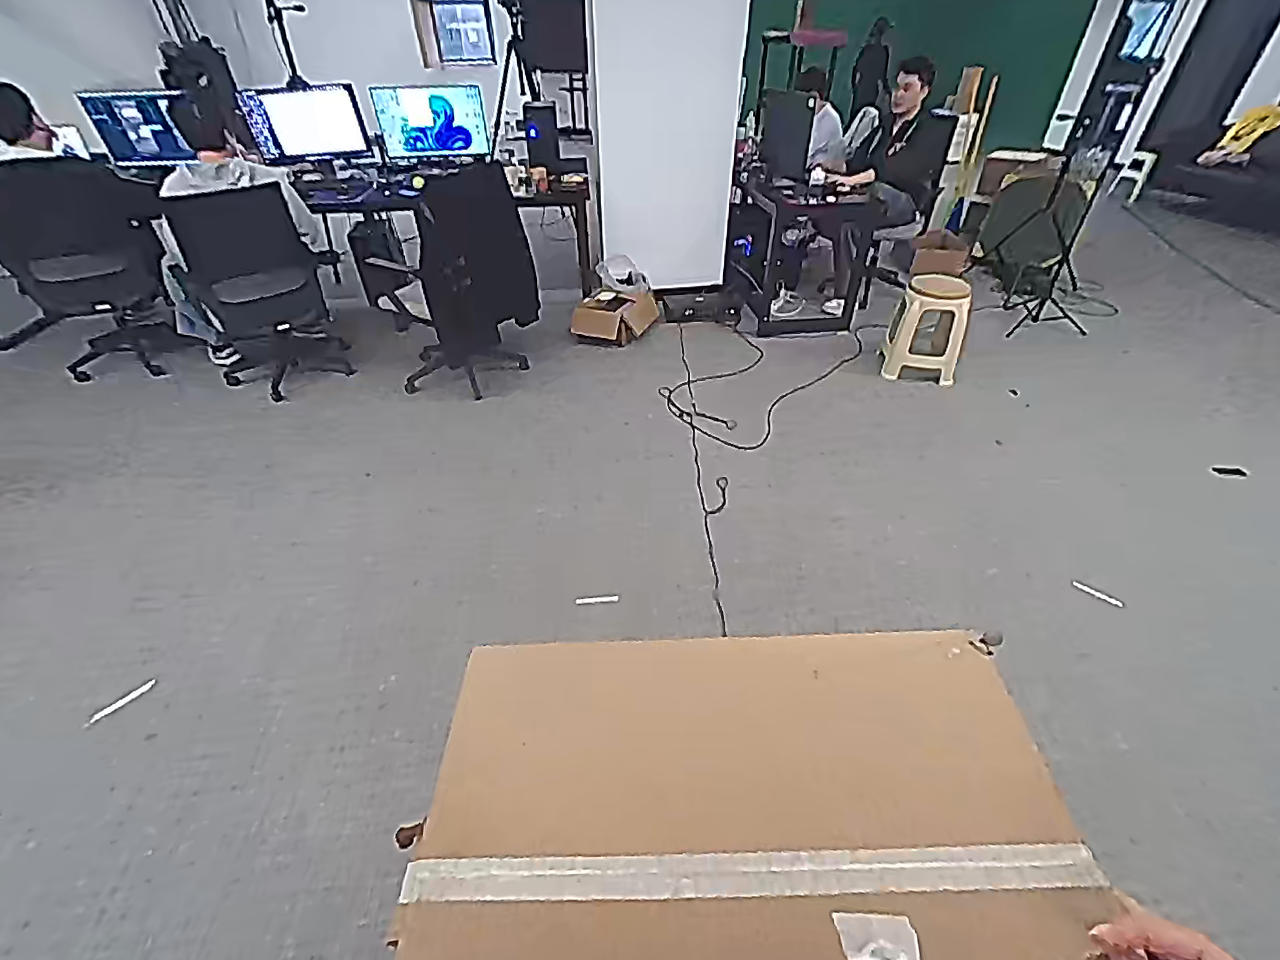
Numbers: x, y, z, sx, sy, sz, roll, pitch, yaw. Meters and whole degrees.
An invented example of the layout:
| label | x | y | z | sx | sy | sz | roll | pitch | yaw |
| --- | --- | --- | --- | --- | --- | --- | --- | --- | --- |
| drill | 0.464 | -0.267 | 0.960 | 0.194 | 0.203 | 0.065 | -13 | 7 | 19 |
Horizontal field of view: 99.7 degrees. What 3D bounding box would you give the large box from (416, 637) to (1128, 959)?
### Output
| label | x | y | z | sx | sy | sz | roll | pitch | yaw |
| --- | --- | --- | --- | --- | --- | --- | --- | --- | --- |
| large box | 0.074 | 0.350 | 0.433 | 0.408 | 0.320 | 0.320 | -2 | 44 | 1 |
